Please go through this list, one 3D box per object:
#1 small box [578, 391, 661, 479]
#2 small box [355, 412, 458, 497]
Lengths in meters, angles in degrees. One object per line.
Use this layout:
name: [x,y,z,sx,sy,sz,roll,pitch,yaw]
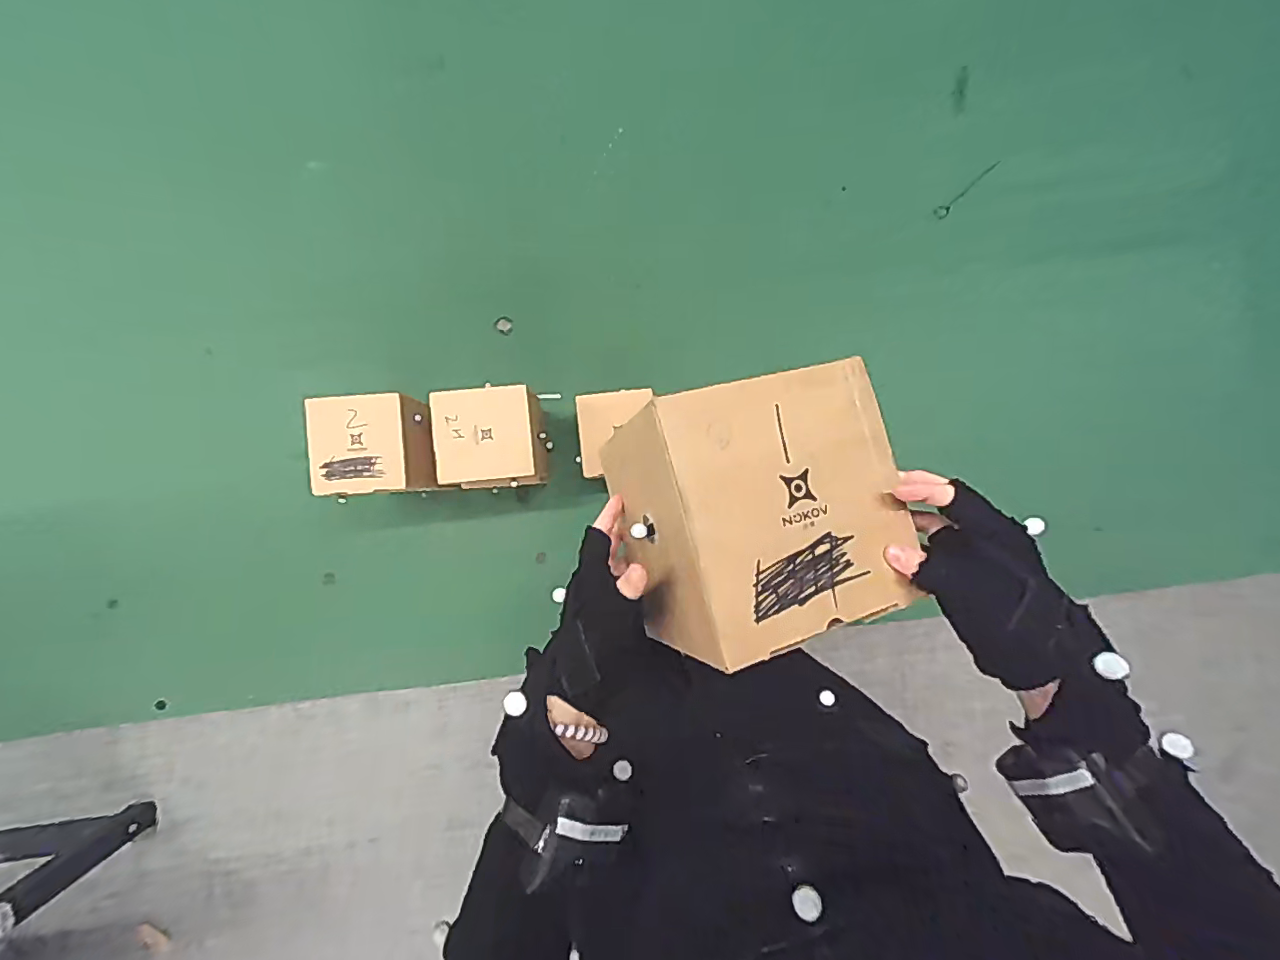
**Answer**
small box: [-0.050,-0.096,1.229,0.168,0.176,0.179,-7,91,-3]
small box: [-0.513,-0.055,1.211,0.168,0.176,0.179,-2,90,-2]
